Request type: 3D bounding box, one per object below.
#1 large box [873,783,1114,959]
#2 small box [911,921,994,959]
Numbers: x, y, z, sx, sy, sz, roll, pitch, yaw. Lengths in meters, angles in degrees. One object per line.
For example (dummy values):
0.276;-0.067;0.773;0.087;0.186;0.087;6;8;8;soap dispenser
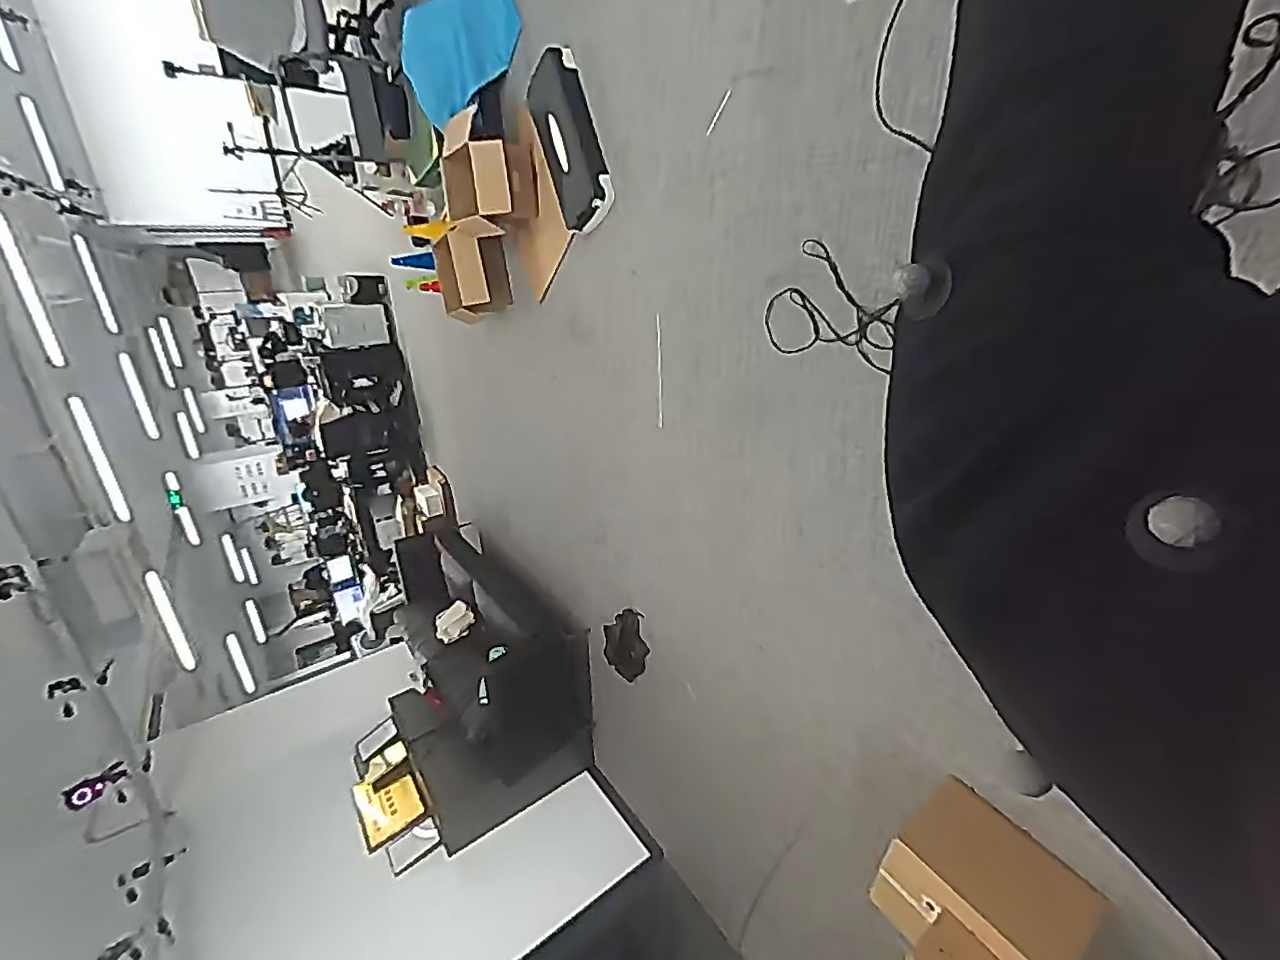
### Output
0.919;1.131;1.443;0.408;0.320;0.320;35;130;46;large box
0.748;1.201;1.280;0.179;0.176;0.168;34;132;43;small box
